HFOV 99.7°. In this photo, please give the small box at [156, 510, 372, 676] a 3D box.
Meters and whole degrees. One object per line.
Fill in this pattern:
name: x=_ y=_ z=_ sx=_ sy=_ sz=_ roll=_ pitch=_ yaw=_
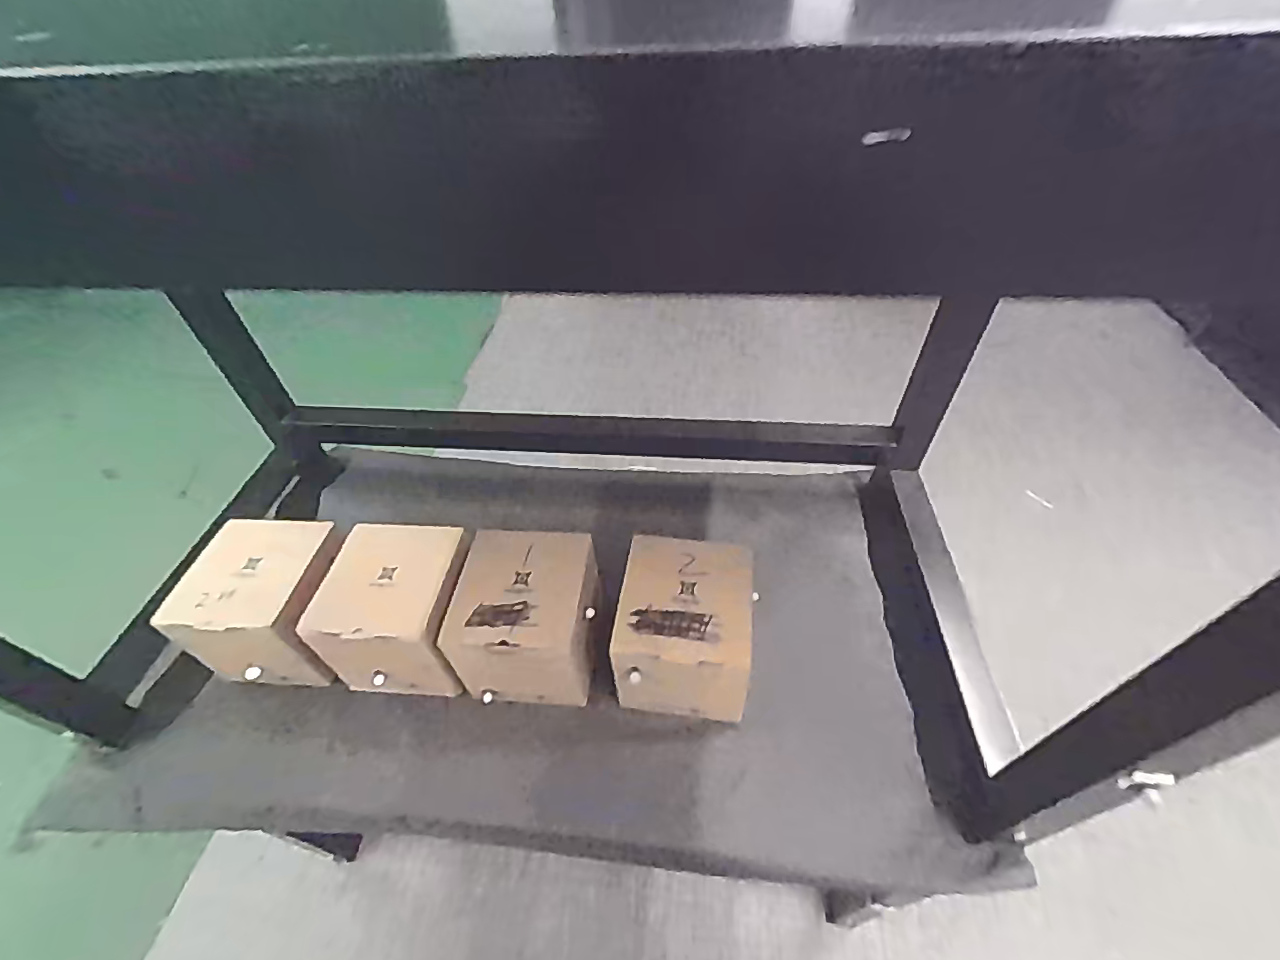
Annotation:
small box: x=-0.525 y=0.164 z=0.793 sx=0.168 sy=0.176 sz=0.179 roll=1 pitch=46 yaw=5
